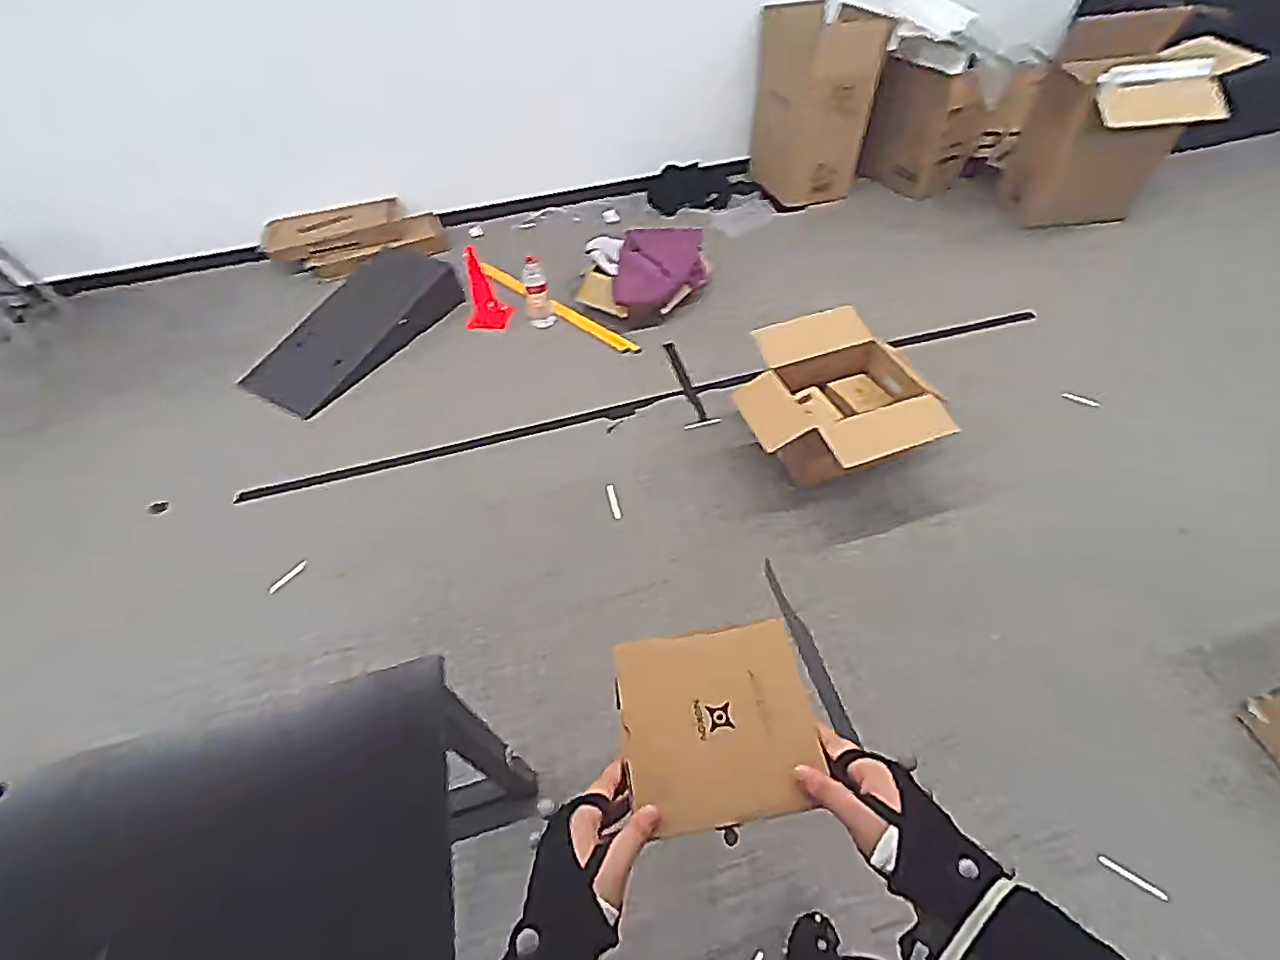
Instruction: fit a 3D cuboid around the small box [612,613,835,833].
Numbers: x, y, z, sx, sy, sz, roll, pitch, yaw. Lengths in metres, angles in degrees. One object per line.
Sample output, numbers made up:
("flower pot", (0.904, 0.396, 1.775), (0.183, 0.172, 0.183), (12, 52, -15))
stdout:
("small box", (0.072, 0.257, 0.562), (0.179, 0.176, 0.168), (-8, 57, -5))
